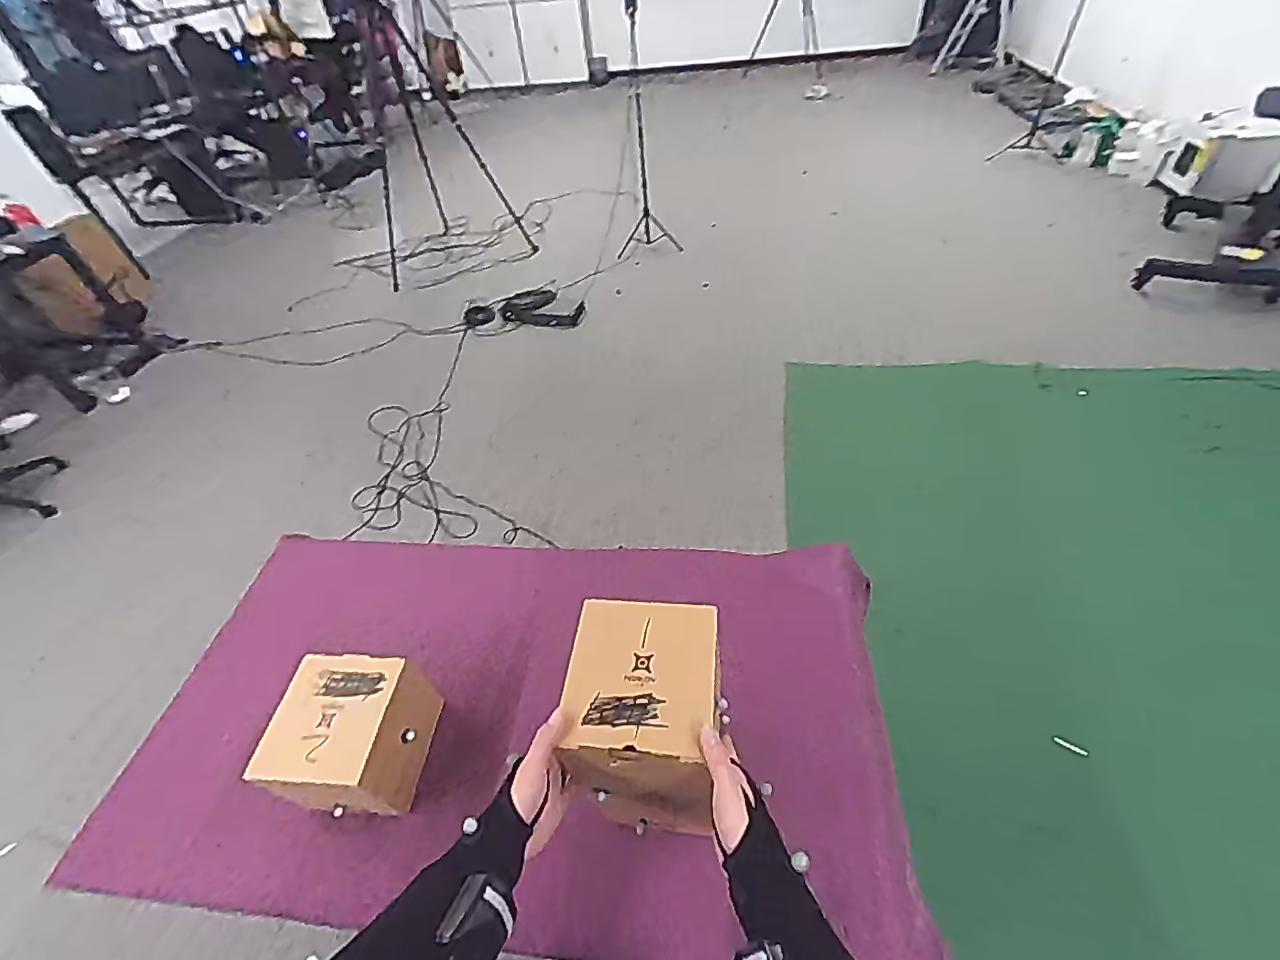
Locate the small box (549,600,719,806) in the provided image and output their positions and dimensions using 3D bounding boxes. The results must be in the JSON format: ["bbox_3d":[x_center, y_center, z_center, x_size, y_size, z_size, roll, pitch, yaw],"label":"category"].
[{"bbox_3d":[0.007,0.267,0.648,0.168,0.176,0.179,1,45,10],"label":"small box"}]

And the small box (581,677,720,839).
[{"bbox_3d":[0.026,0.379,0.766,0.168,0.176,0.179,1,46,11],"label":"small box"}]
